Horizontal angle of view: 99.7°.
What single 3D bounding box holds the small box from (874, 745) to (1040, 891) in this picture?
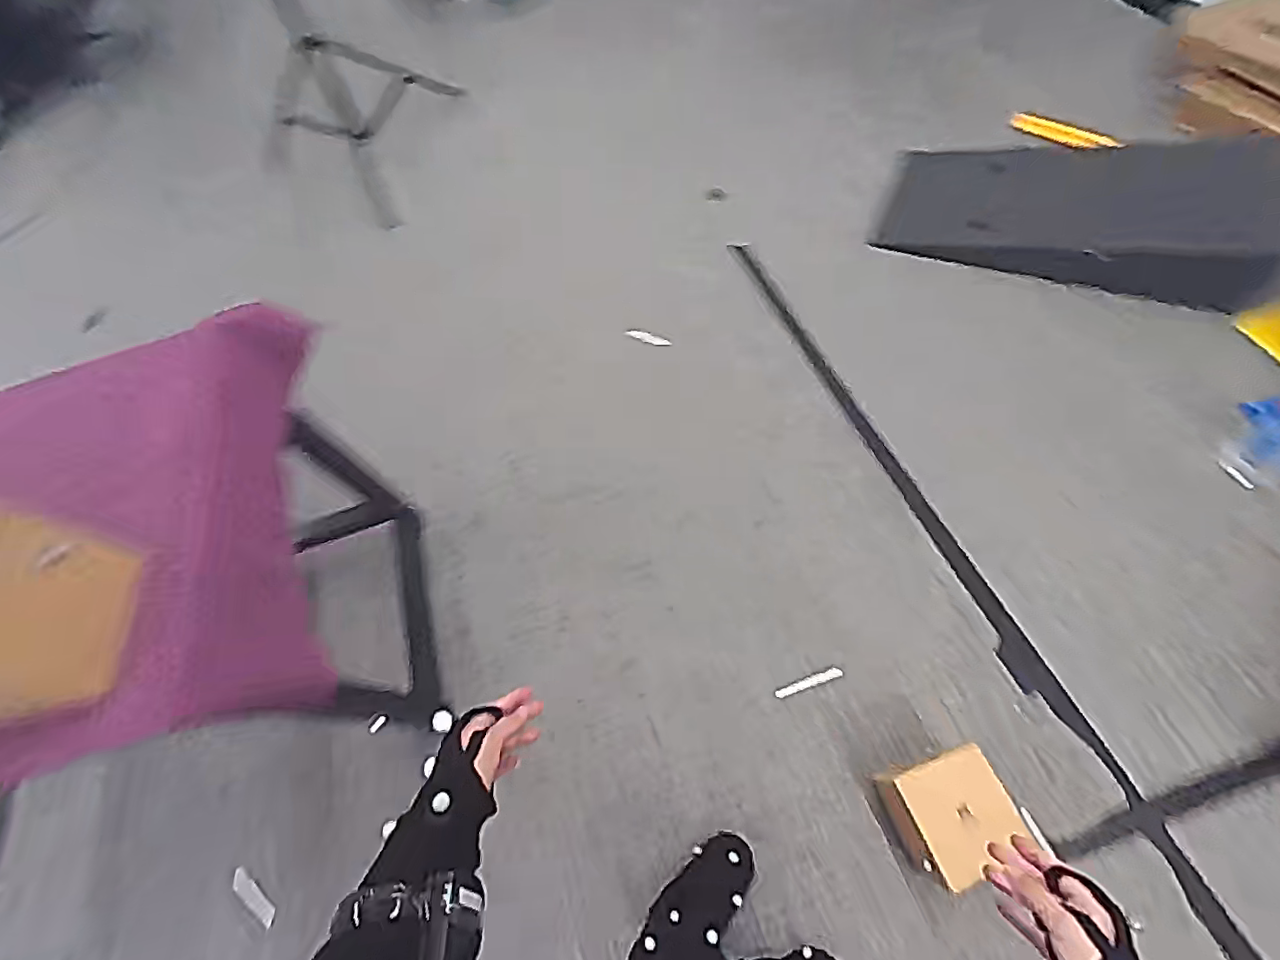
[{"bbox_3d":[0.559,0.605,0.987,0.168,0.176,0.179,-21,63,-3],"label":"small box"}]
